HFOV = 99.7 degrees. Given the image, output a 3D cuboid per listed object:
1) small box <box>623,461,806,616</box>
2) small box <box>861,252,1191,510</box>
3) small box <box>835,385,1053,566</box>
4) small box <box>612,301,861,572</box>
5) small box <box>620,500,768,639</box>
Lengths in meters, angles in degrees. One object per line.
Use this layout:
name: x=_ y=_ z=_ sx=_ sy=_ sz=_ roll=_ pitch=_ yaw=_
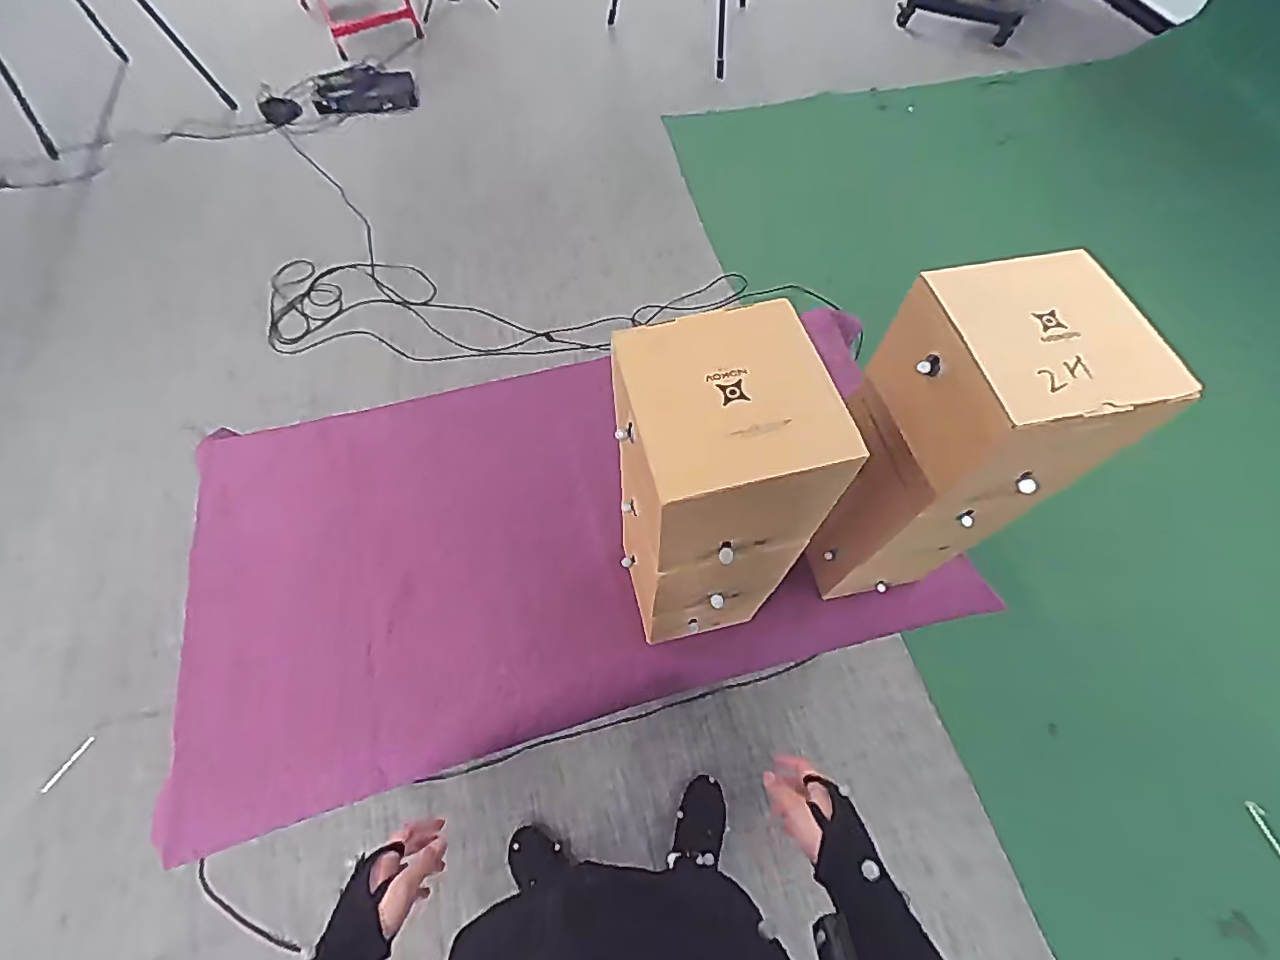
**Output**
small box: x=0.073 y=0.044 z=0.653 sx=0.168 sy=0.176 sz=0.179 roll=-12 pitch=63 yaw=-6
small box: x=0.348 y=-0.091 z=0.536 sx=0.168 sy=0.176 sz=0.179 roll=-10 pitch=63 yaw=-4
small box: x=0.348 y=-0.012 z=0.680 sx=0.168 sy=0.176 sz=0.179 roll=-10 pitch=62 yaw=-4
small box: x=0.071 y=-0.035 z=0.511 sx=0.168 sy=0.176 sz=0.179 roll=-13 pitch=63 yaw=-6
small box: x=0.071 y=0.124 z=0.796 sx=0.168 sy=0.176 sz=0.179 roll=-12 pitch=62 yaw=-6
